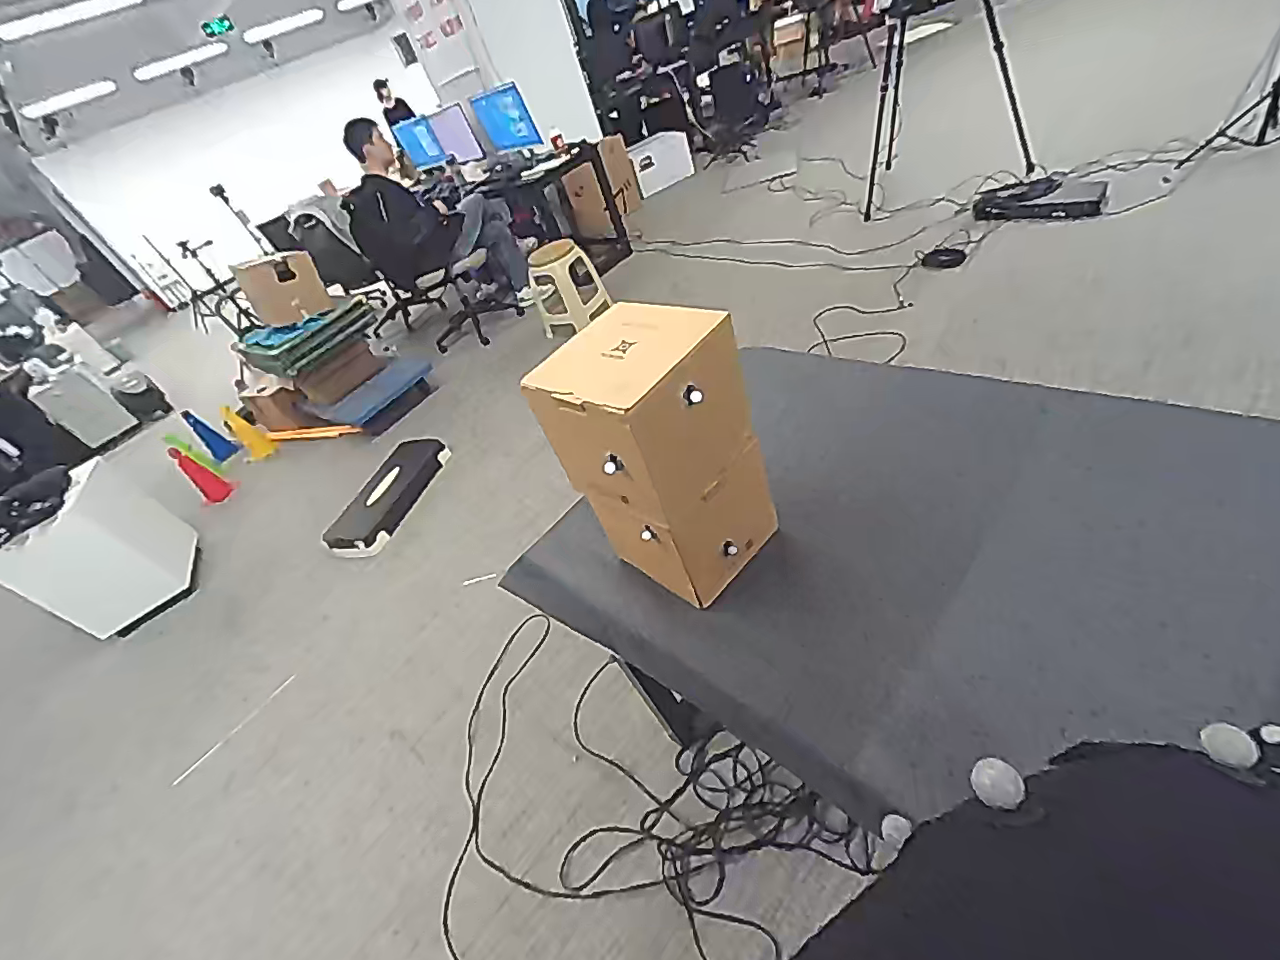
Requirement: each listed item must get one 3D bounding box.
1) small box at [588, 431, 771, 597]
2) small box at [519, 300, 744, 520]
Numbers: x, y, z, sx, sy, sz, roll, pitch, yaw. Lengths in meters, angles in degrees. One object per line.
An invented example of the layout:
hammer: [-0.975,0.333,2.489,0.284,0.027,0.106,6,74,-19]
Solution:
small box: [0.052,0.027,0.727,0.168,0.176,0.179,-42,43,-22]
small box: [0.003,-0.083,0.618,0.168,0.176,0.179,21,55,38]
